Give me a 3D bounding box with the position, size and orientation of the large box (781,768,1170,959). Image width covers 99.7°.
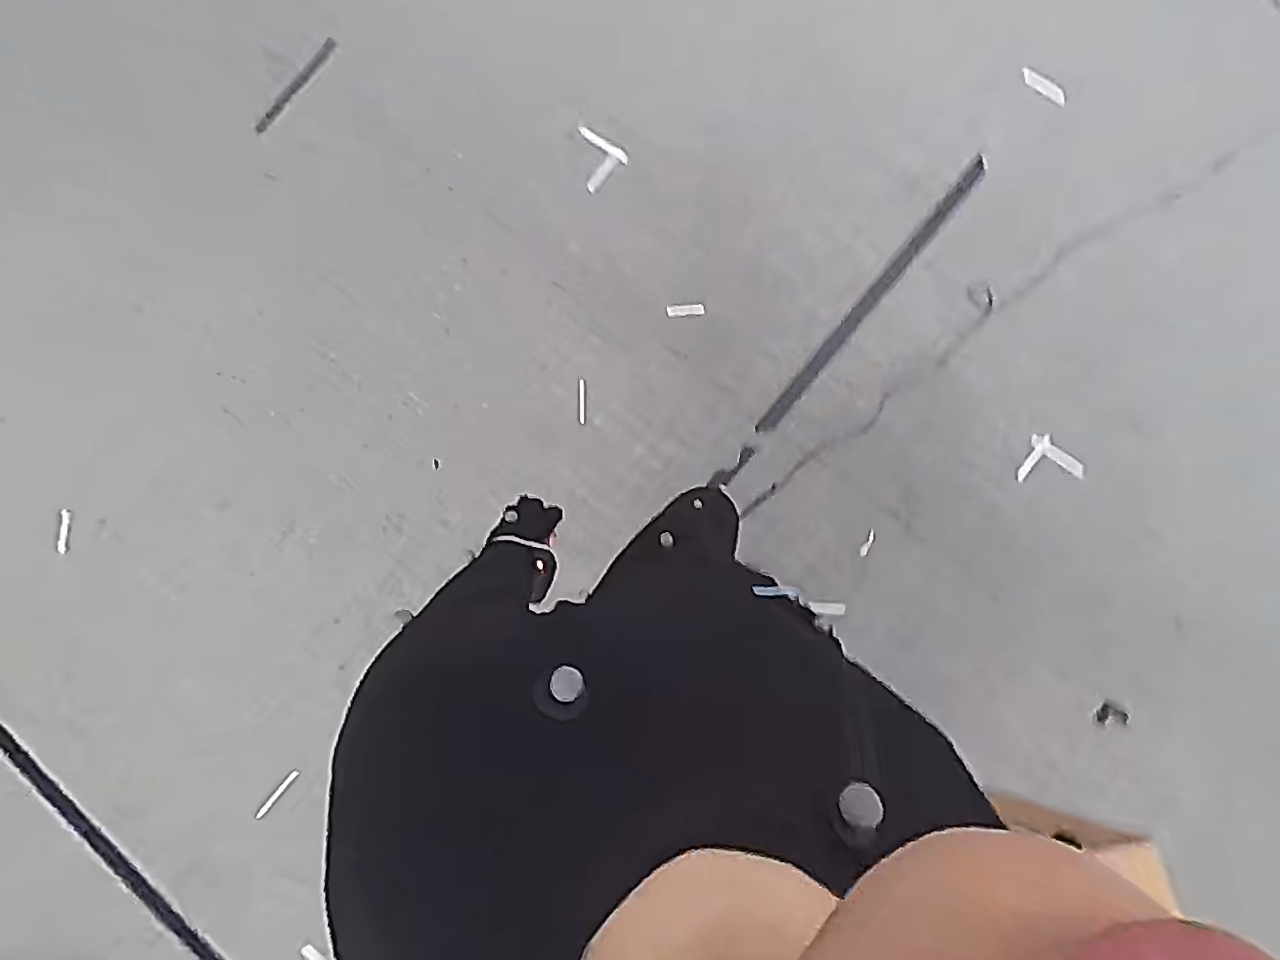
[{"bbox_3d":[0.440,0.632,0.773,0.320,0.408,0.320,-4,70,-5],"label":"large box"}]
